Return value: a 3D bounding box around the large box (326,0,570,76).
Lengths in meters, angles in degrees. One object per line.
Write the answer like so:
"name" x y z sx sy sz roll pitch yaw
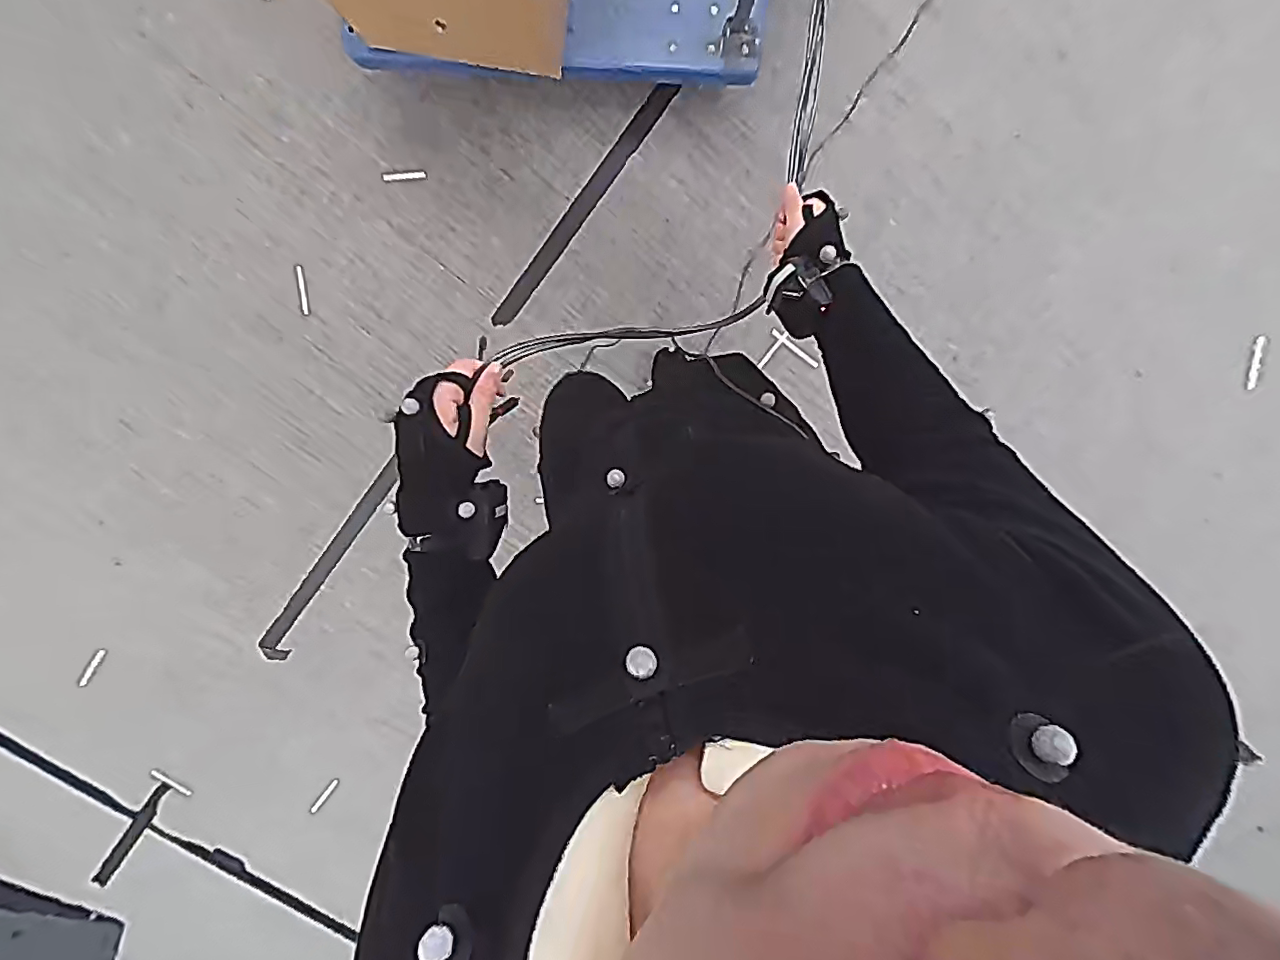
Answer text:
"large box" -0.338 -0.968 0.941 0.408 0.320 0.320 8 102 0
